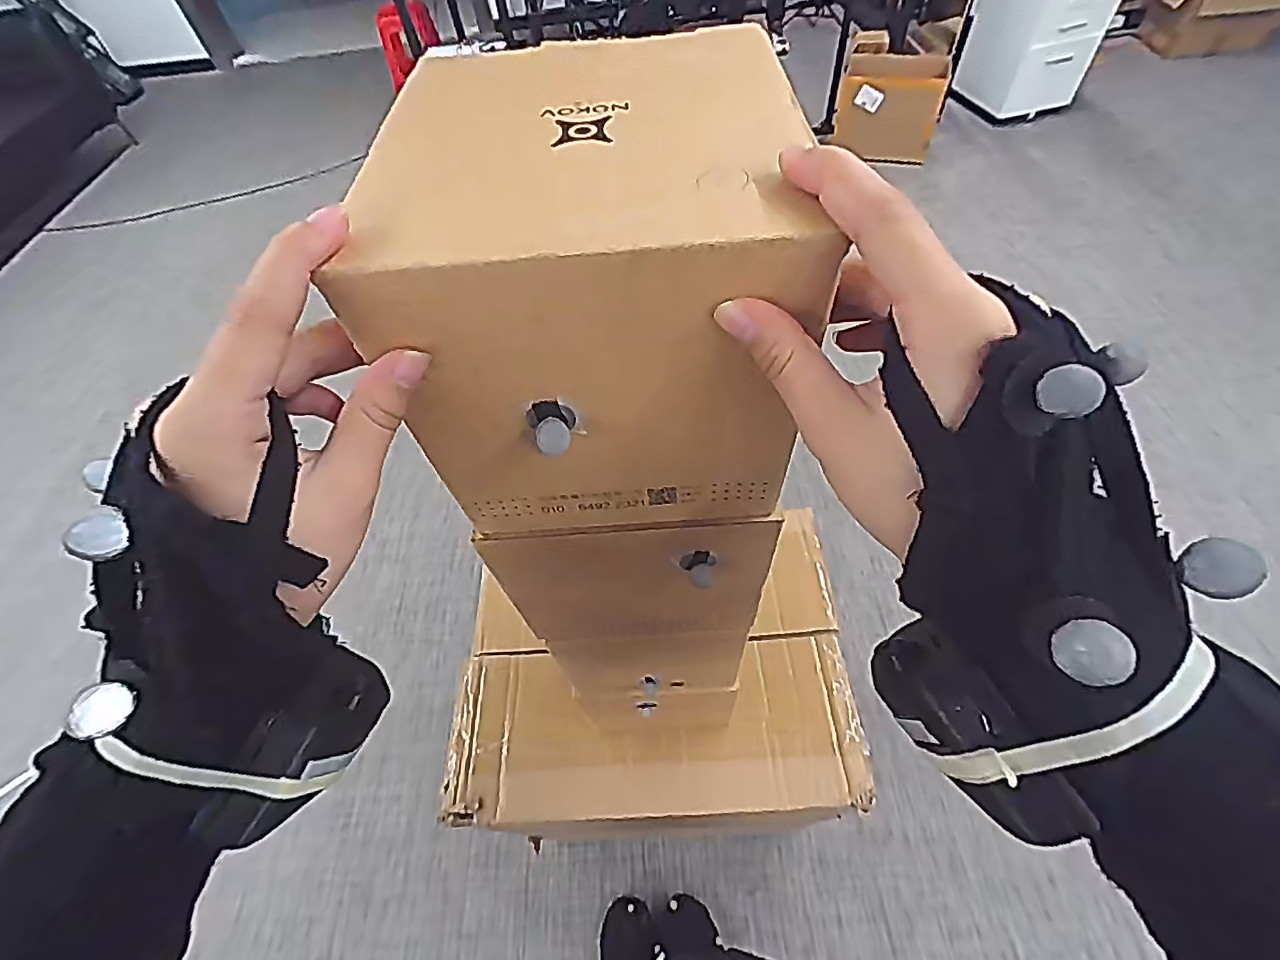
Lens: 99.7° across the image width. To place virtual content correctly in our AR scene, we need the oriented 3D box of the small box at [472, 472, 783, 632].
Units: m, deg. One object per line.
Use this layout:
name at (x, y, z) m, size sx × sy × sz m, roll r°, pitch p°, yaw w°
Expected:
small box at (-0.004, 0.005, 0.408) m, size 0.179 × 0.176 × 0.168 m, roll -4°, pitch 55°, yaw 3°

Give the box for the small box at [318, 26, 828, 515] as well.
small box at (-0.018, -0.092, 0.279) m, size 0.168 × 0.176 × 0.179 m, roll -4°, pitch 54°, yaw 2°

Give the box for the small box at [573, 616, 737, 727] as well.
small box at (0.021, 0.201, 0.671) m, size 0.179 × 0.176 × 0.168 m, roll -4°, pitch 55°, yaw 2°
